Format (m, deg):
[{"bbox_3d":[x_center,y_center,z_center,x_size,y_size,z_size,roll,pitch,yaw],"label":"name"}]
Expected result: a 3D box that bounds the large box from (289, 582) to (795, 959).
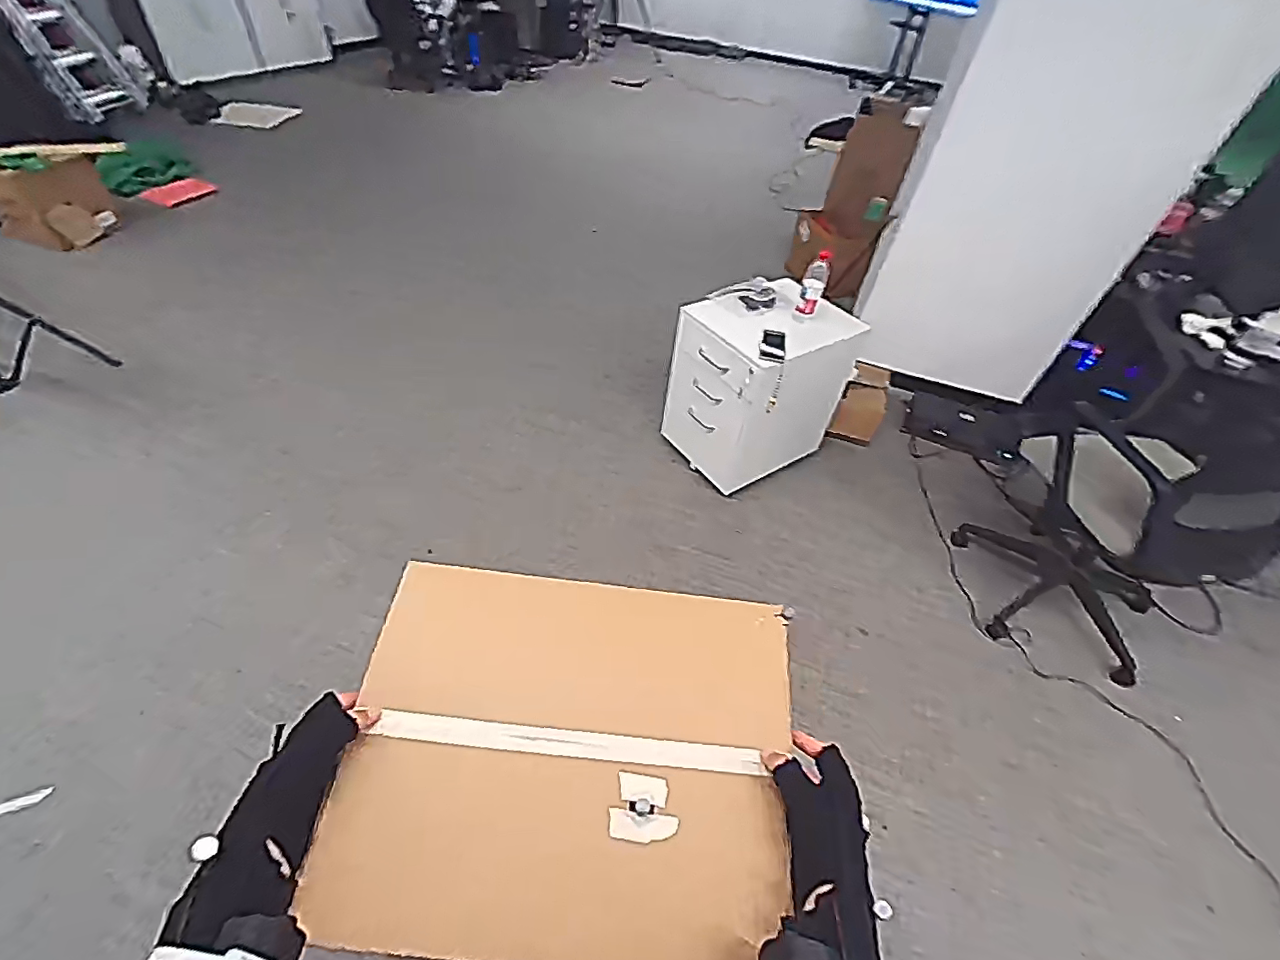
[{"bbox_3d":[-0.081,0.336,0.626,0.408,0.320,0.320,6,57,-3],"label":"large box"}]
